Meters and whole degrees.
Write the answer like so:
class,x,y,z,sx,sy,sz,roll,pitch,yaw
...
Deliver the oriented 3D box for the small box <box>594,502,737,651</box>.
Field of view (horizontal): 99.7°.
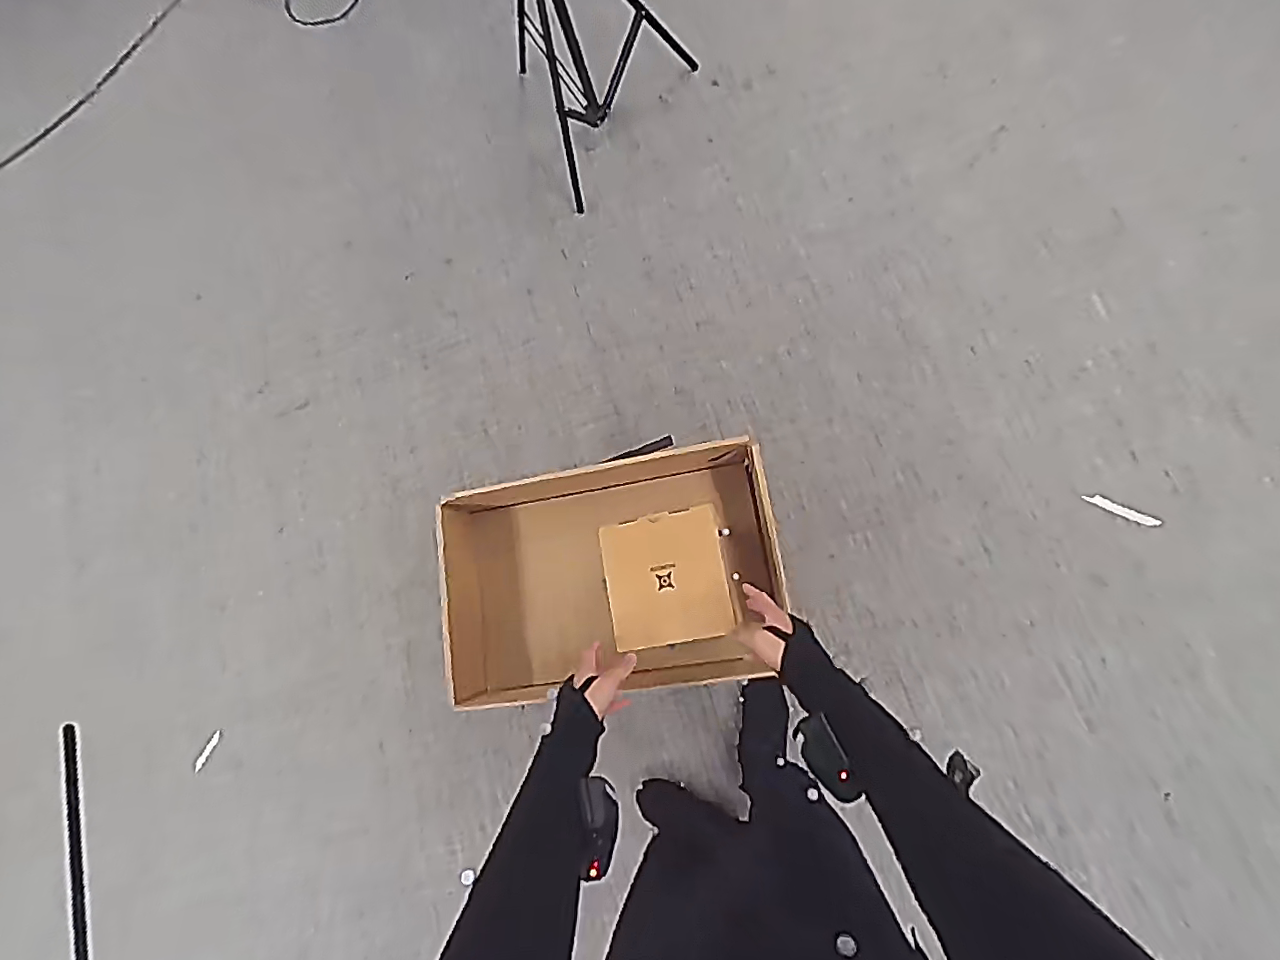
class,x,y,z,sx,sy,sz,roll,pitch,yaw
small box,0.045,0.142,0.800,0.168,0.176,0.179,-13,76,9
